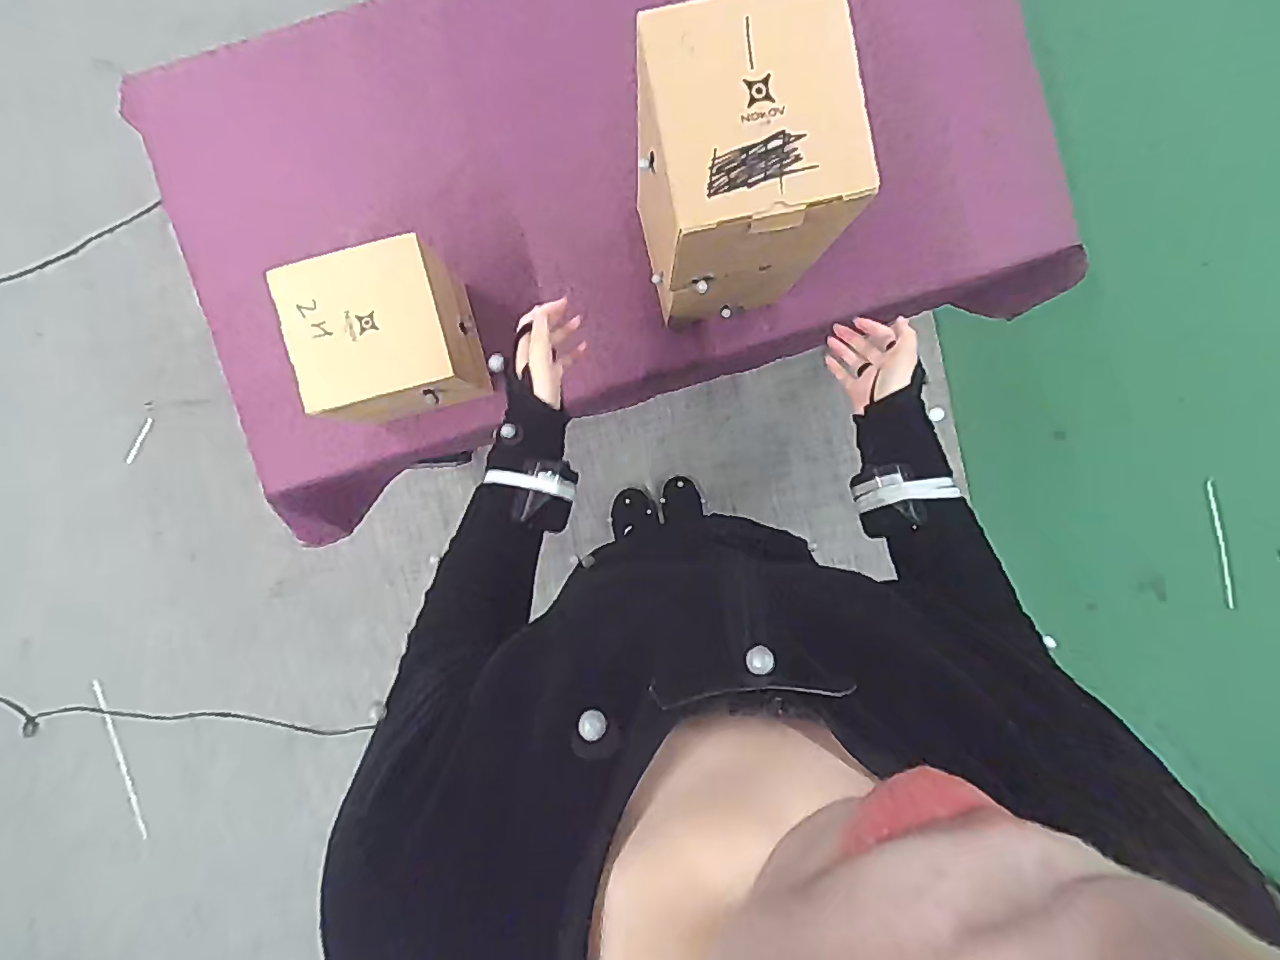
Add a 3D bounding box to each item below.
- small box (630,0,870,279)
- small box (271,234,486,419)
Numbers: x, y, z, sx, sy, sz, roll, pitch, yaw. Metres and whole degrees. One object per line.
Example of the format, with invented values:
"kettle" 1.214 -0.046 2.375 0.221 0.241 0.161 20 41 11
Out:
"small box" 0.090 -0.305 0.508 0.168 0.176 0.179 -12 92 1
"small box" -0.310 -0.180 0.685 0.179 0.176 0.168 -15 92 1
